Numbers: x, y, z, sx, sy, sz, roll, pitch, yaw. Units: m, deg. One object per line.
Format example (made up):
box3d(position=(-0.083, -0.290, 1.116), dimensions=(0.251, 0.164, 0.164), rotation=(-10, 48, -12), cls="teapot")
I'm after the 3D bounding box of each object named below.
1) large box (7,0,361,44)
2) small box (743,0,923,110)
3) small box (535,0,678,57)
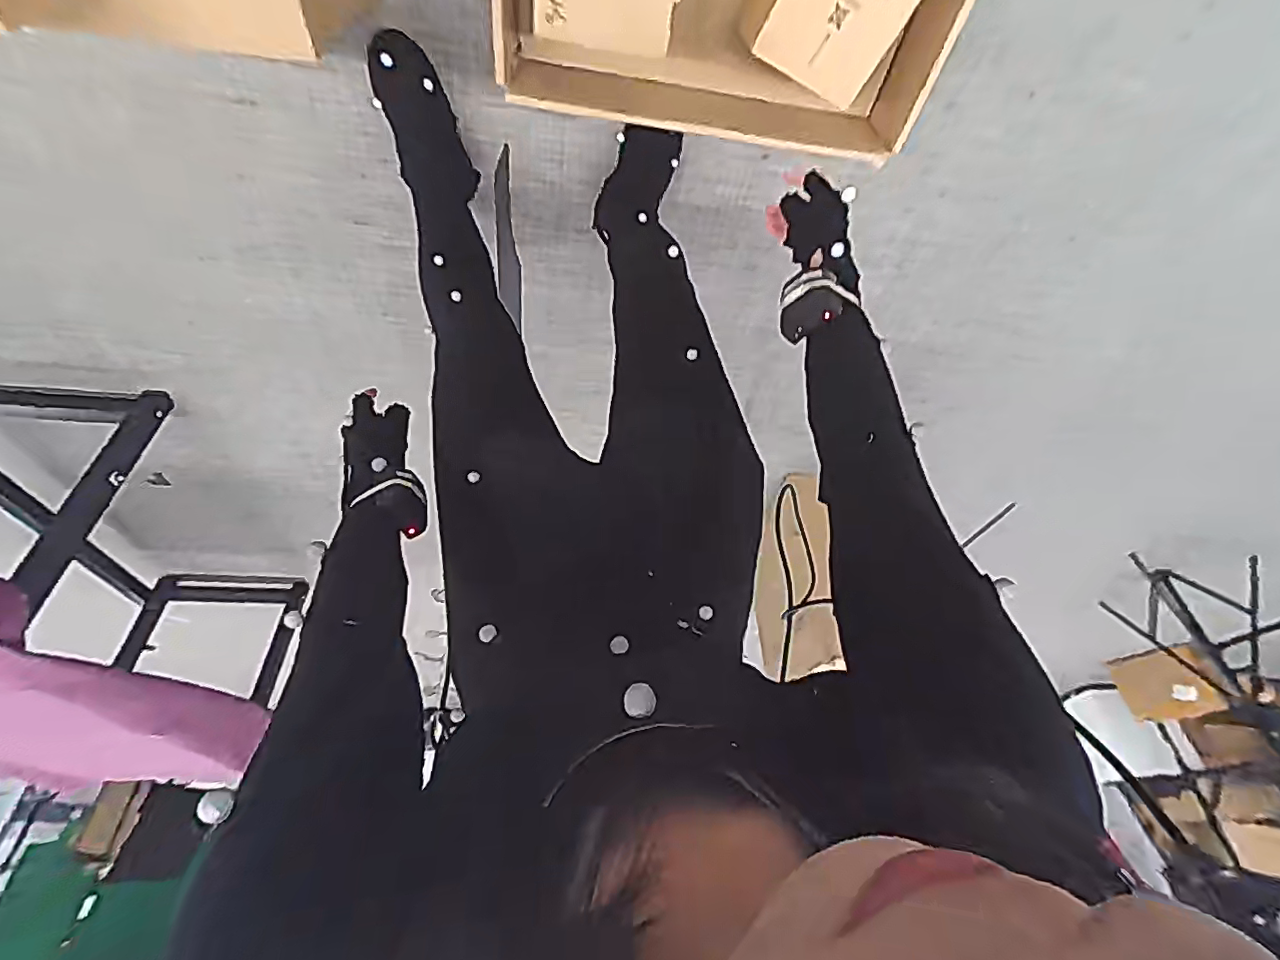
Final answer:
box3d(position=(-0.554, -0.715, 0.573), dimensions=(0.408, 0.320, 0.320), rotation=(1, 144, -6), cls="large box")
box3d(position=(0.255, -0.656, 0.725), dimensions=(0.168, 0.176, 0.179), rotation=(16, 140, -21), cls="small box")
box3d(position=(-0.040, -0.673, 0.683), dimensions=(0.179, 0.176, 0.168), rotation=(3, 141, -10), cls="small box")
